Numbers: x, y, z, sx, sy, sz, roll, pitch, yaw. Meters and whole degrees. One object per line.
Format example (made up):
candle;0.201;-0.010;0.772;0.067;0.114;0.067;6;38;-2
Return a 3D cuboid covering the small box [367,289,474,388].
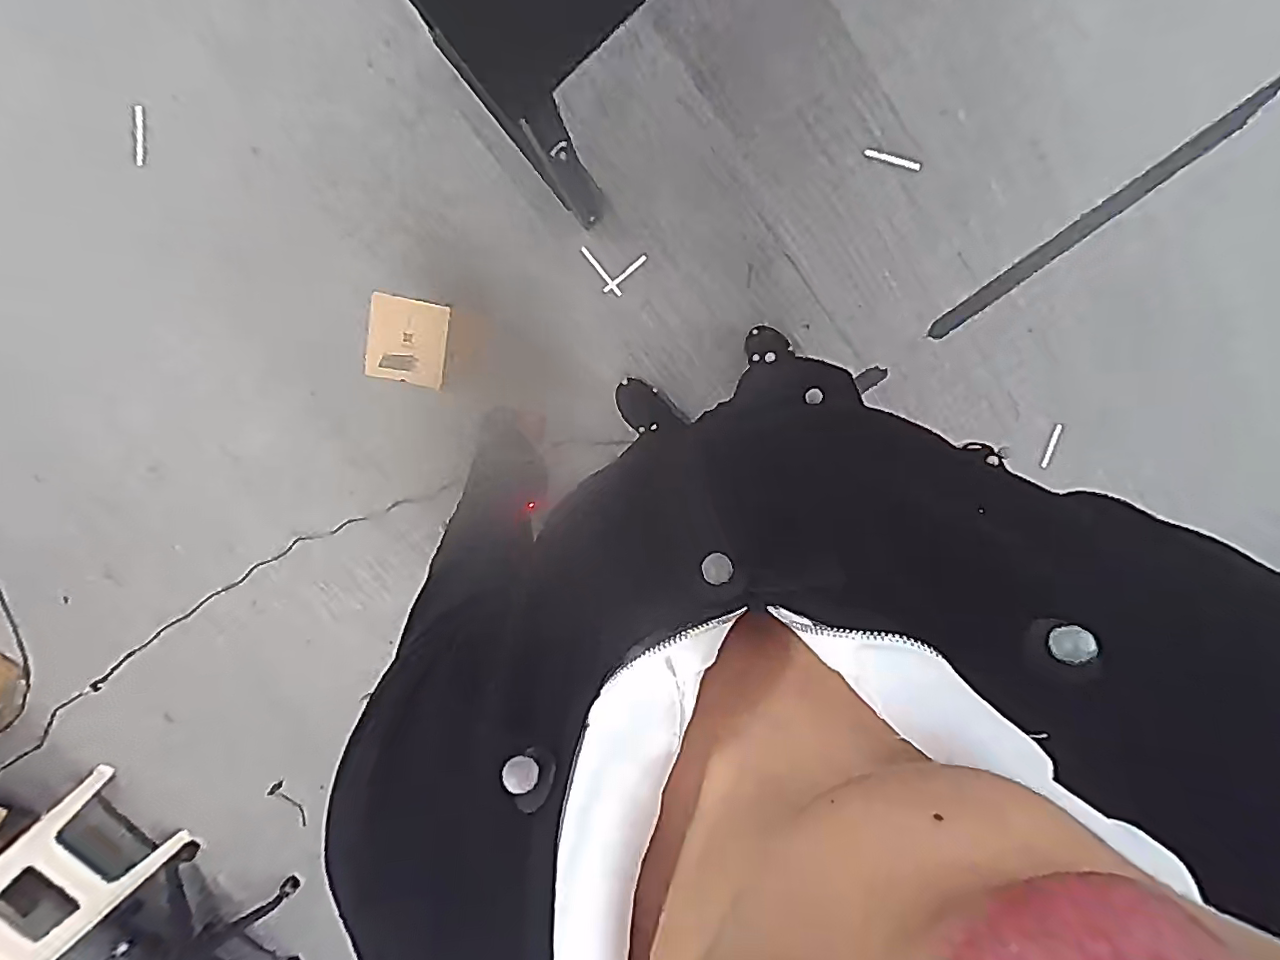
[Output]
small box;-0.484;-0.312;1.210;0.168;0.176;0.179;12;103;-1
